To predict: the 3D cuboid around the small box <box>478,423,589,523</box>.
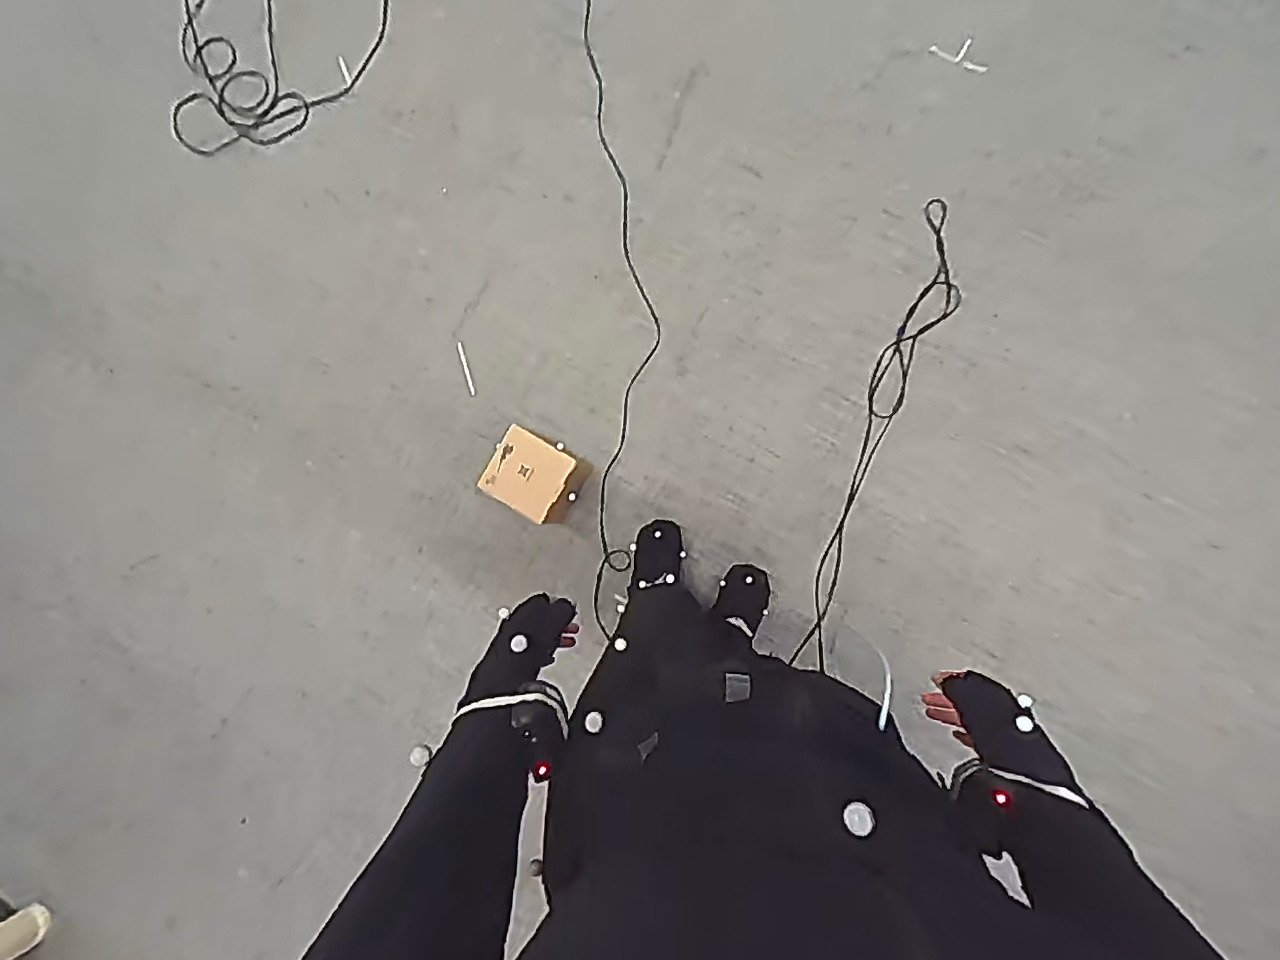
[{"bbox_3d":[-0.240,-0.015,1.276,0.179,0.176,0.168,31,91,6],"label":"small box"}]
